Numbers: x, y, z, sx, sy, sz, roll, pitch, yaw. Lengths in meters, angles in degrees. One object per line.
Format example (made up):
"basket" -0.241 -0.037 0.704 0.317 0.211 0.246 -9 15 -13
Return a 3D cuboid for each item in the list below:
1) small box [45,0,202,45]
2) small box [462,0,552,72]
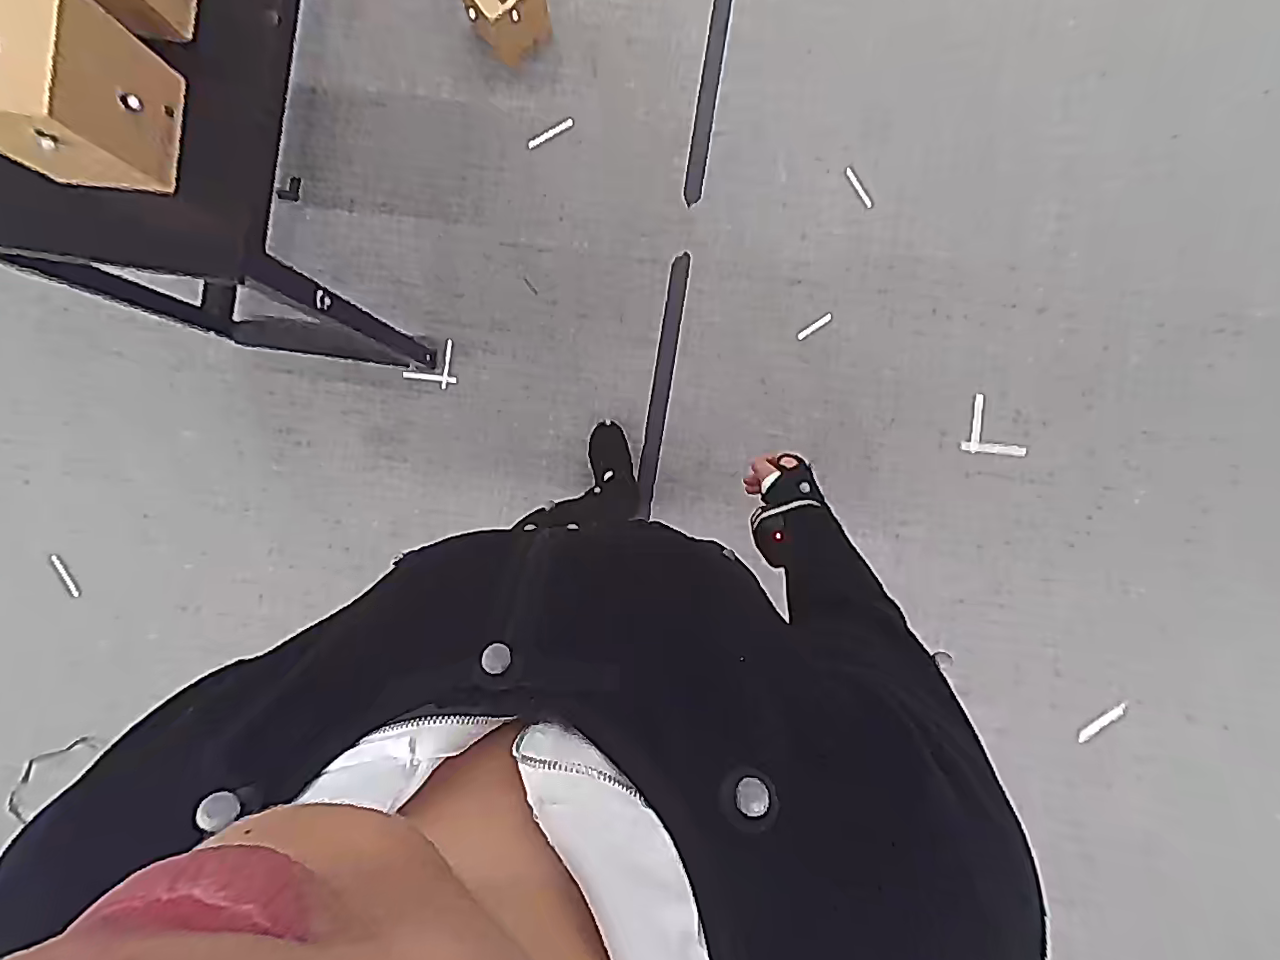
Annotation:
"small box" -0.722 -0.718 0.706 0.179 0.176 0.168 8 90 1
"small box" -0.358 -1.242 1.424 0.168 0.176 0.179 -38 89 2
